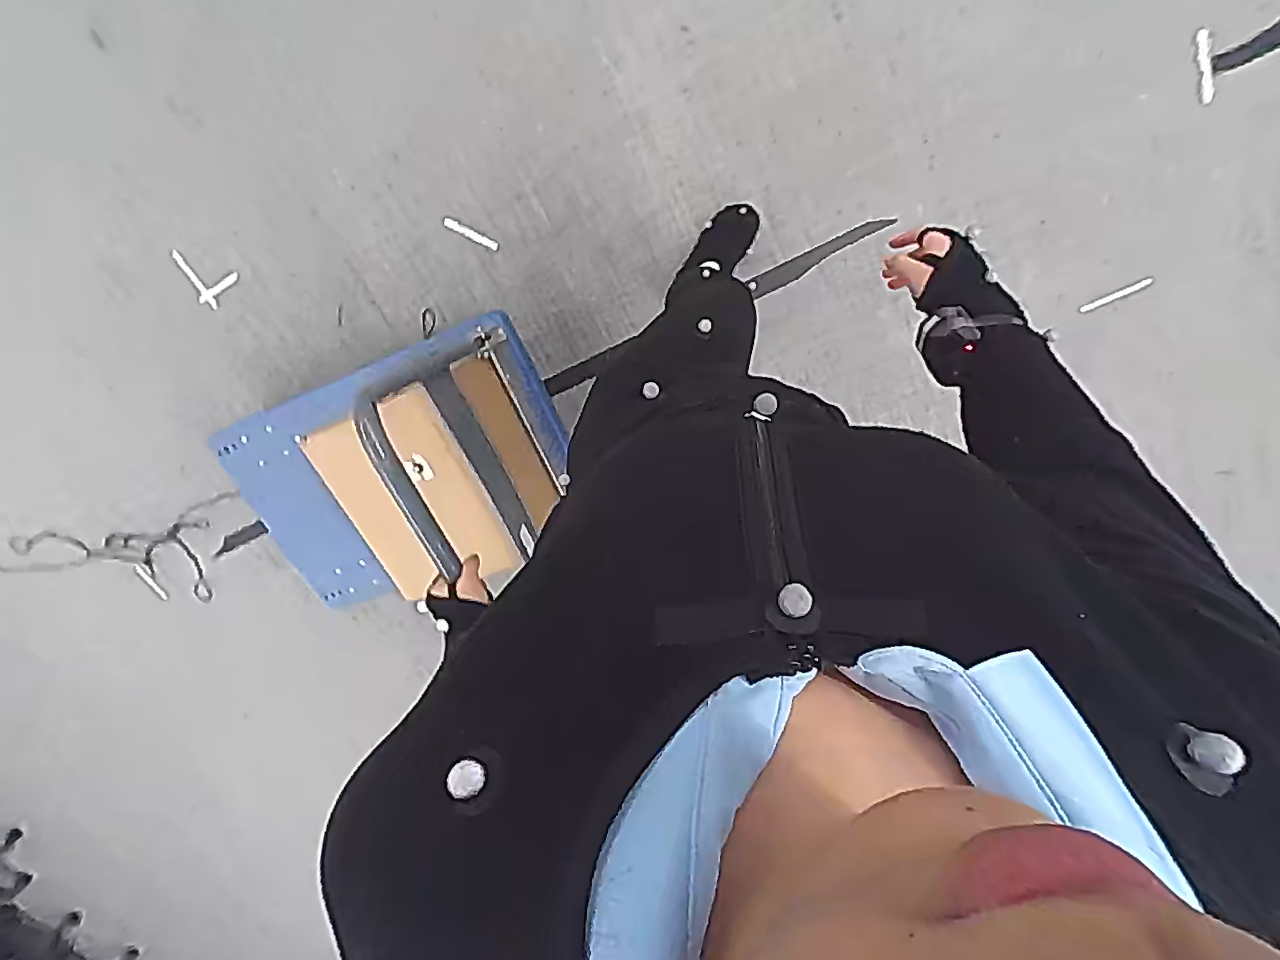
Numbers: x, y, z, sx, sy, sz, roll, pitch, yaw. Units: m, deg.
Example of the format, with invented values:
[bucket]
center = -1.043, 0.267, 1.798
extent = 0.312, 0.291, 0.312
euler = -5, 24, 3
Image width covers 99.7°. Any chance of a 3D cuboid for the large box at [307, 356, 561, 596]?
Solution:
[large box]
center = -0.427, -0.018, 1.230
extent = 0.320, 0.320, 0.408
euler = -21, 110, 11
